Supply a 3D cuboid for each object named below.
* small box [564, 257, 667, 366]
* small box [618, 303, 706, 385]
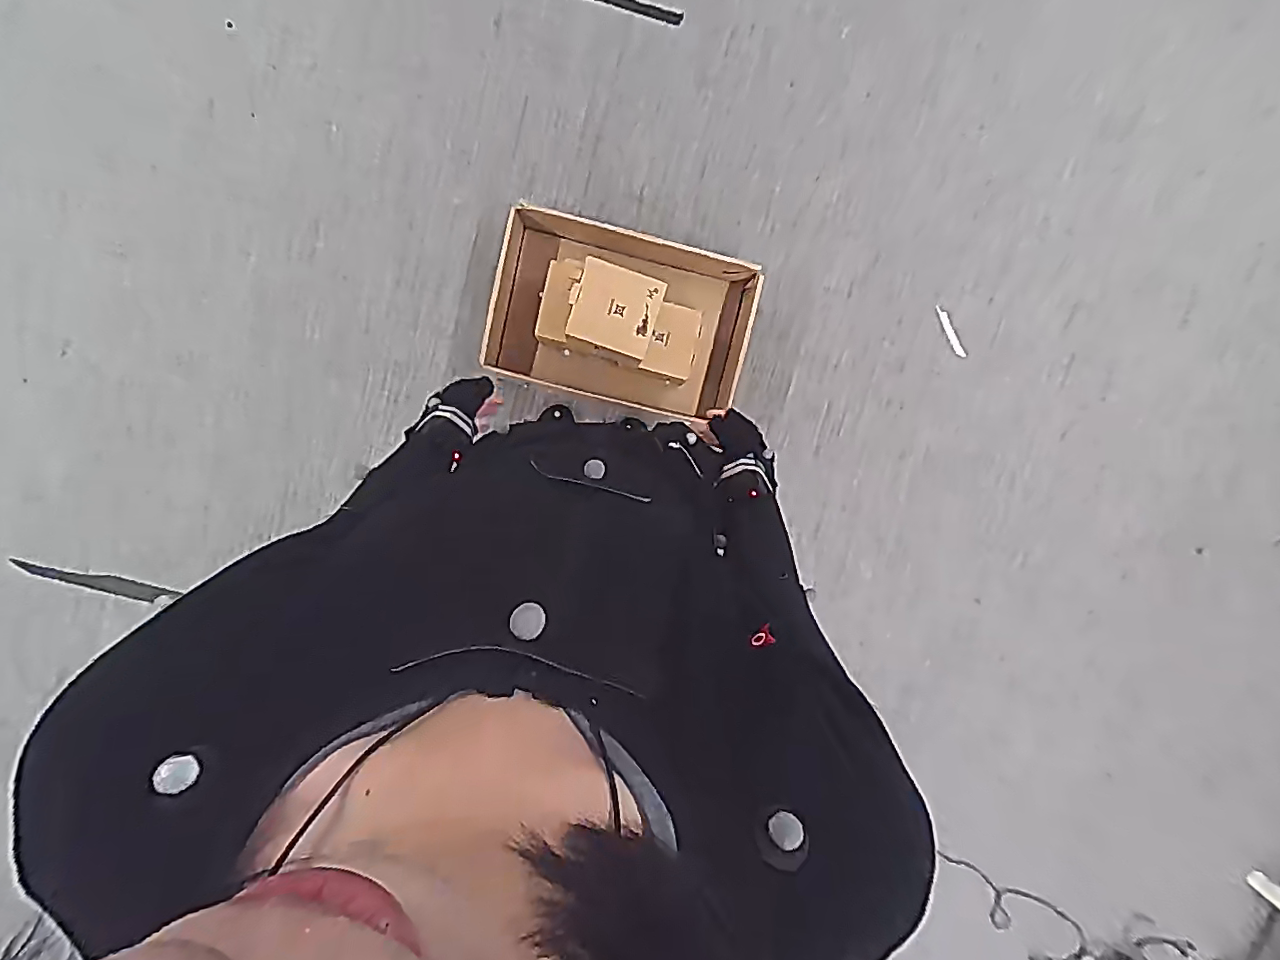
[{"bbox_3d":[-0.055,-0.356,1.182,0.179,0.176,0.168,18,95,-5],"label":"small box"},{"bbox_3d":[0.050,-0.340,1.354,0.179,0.176,0.168,14,95,-2],"label":"small box"}]
